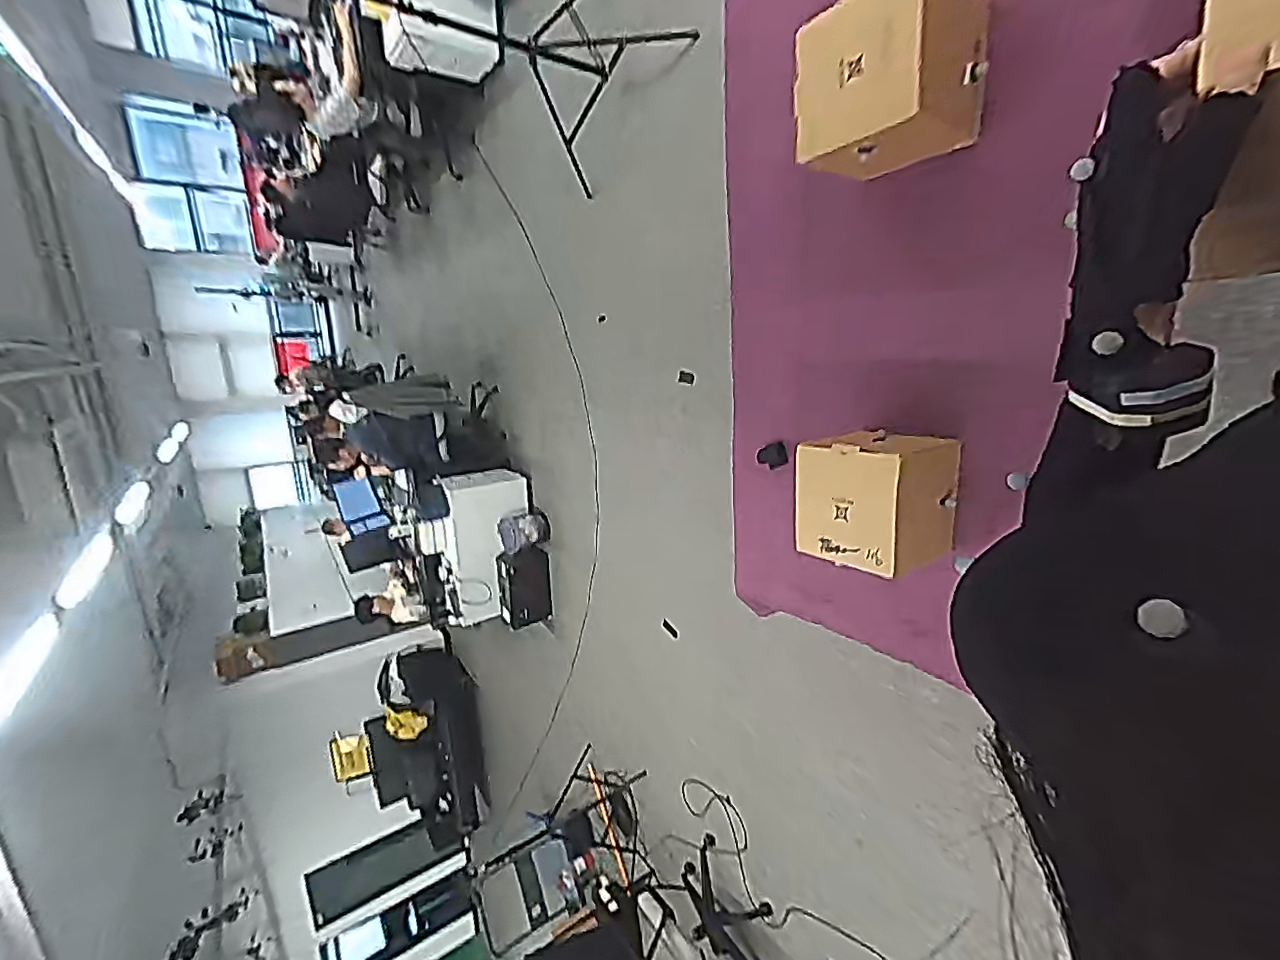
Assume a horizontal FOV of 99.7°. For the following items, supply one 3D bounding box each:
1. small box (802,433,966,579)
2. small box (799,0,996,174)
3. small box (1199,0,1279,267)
[{"bbox_3d":[0.367,0.026,0.817,0.168,0.176,0.179,14,110,54],"label":"small box"},{"bbox_3d":[0.333,-0.525,0.714,0.179,0.176,0.168,12,110,54],"label":"small box"},{"bbox_3d":[0.456,-0.262,0.318,0.168,0.176,0.179,5,68,46],"label":"small box"}]
